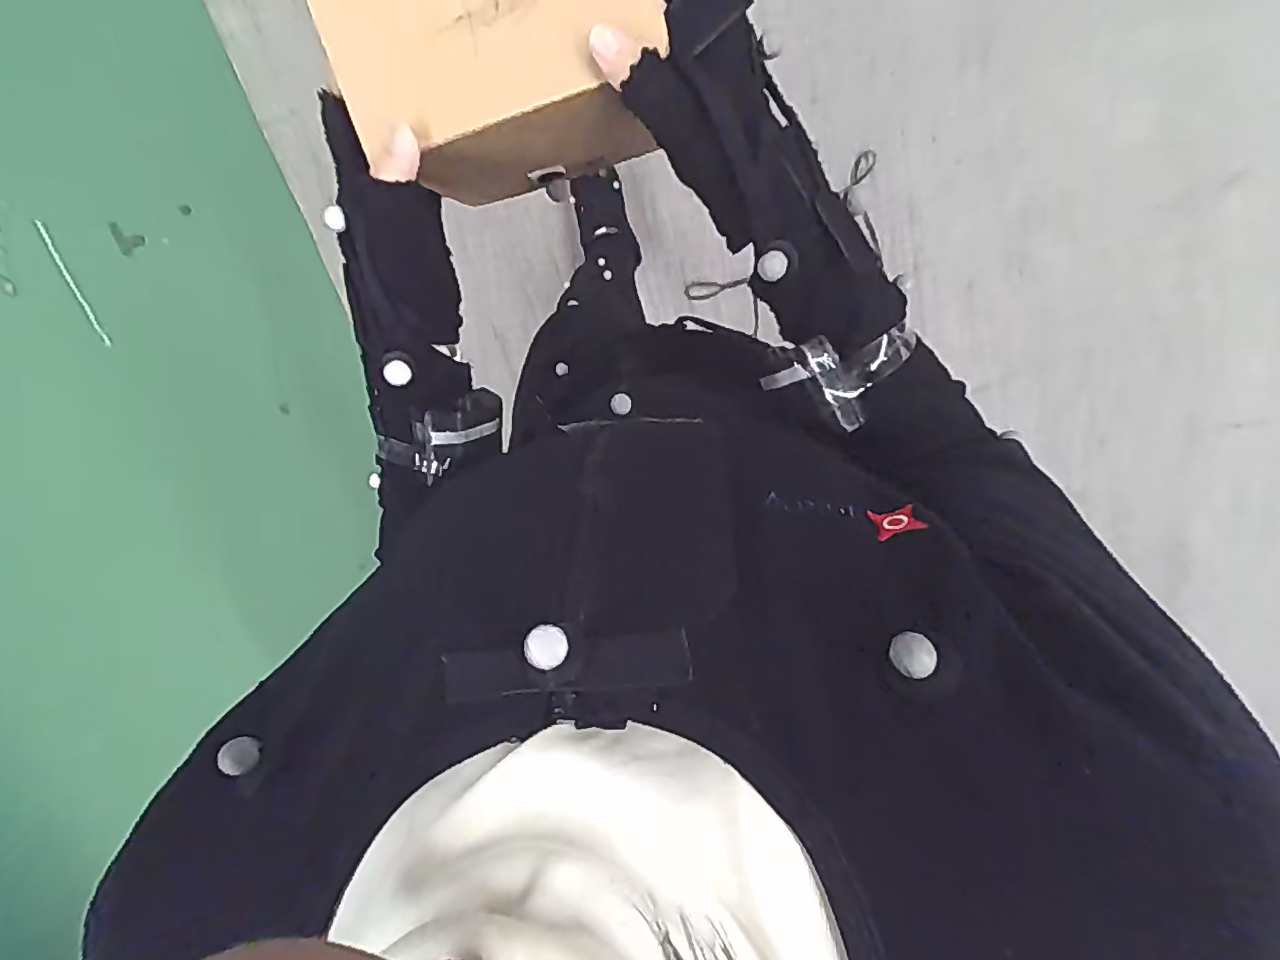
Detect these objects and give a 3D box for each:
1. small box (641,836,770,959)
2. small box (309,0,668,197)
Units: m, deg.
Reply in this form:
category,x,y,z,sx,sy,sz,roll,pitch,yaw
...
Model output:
category,x,y,z,sx,sy,sz,roll,pitch,yaw
small box,0.109,0.714,0.878,0.179,0.176,0.168,-13,109,10
small box,-0.082,-0.295,0.322,0.168,0.176,0.179,-13,108,9
